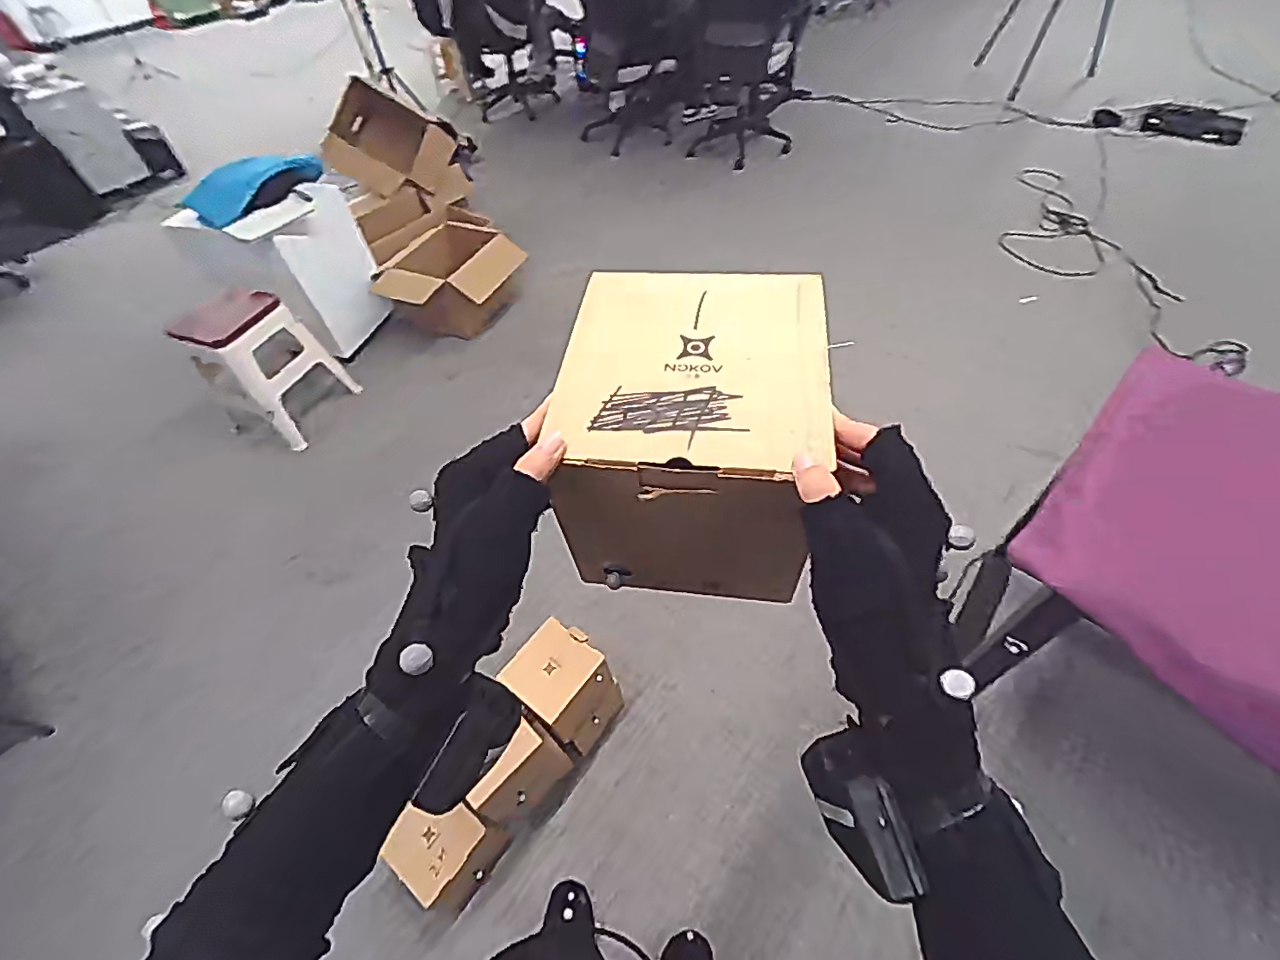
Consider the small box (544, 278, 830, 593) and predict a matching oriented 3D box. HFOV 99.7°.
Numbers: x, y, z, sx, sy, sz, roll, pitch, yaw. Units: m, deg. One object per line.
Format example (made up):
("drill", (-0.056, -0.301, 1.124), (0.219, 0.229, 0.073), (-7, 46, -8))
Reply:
("small box", (0.044, -0.030, 0.412), (0.168, 0.176, 0.179), (4, 55, 9))
